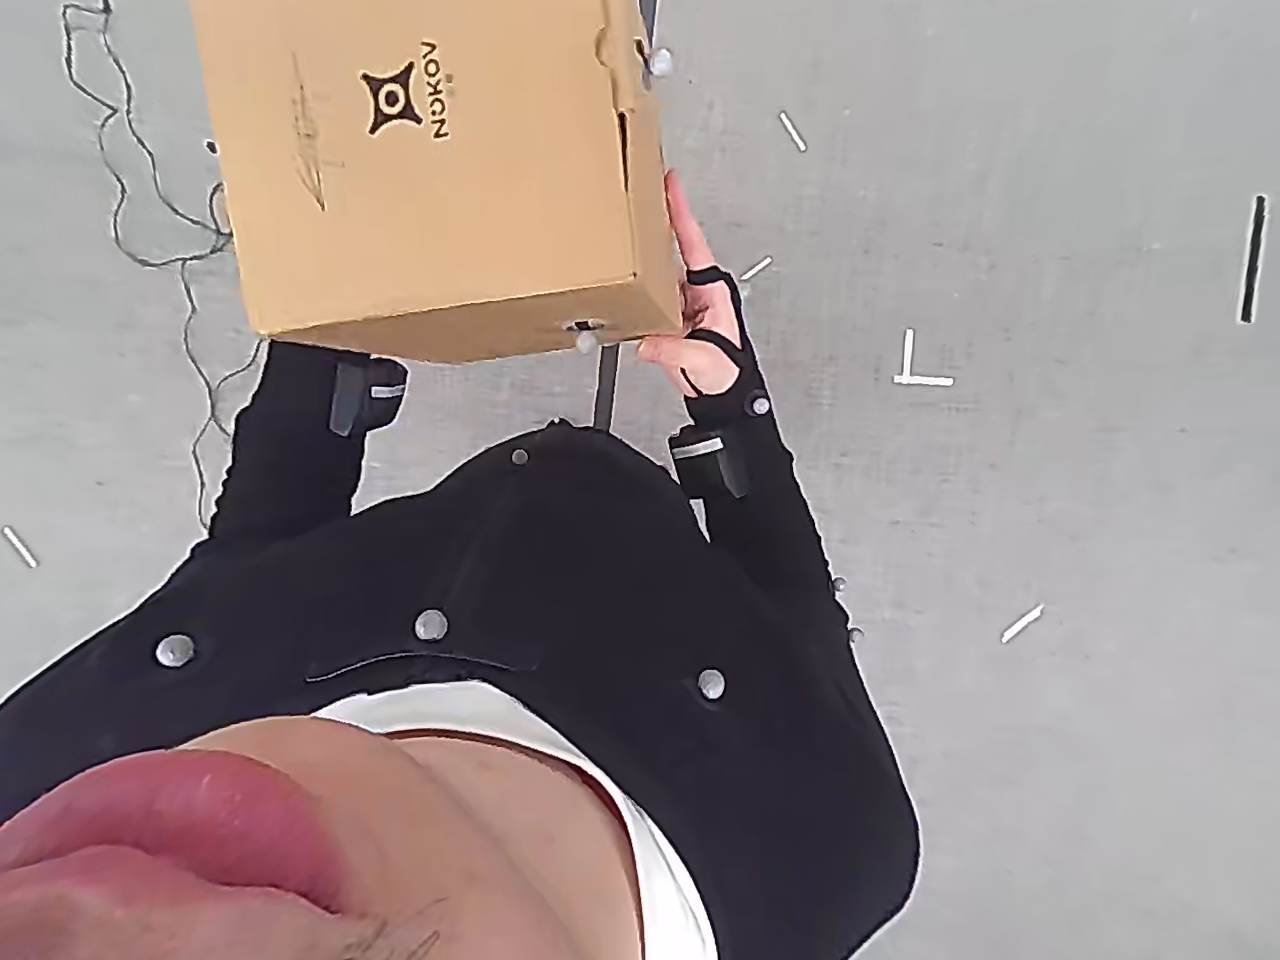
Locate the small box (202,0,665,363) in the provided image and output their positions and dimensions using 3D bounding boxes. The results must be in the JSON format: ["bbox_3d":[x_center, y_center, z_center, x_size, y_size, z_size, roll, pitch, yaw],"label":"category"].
[{"bbox_3d":[-0.084,-0.165,0.305,0.179,0.176,0.168,-7,95,12],"label":"small box"}]
